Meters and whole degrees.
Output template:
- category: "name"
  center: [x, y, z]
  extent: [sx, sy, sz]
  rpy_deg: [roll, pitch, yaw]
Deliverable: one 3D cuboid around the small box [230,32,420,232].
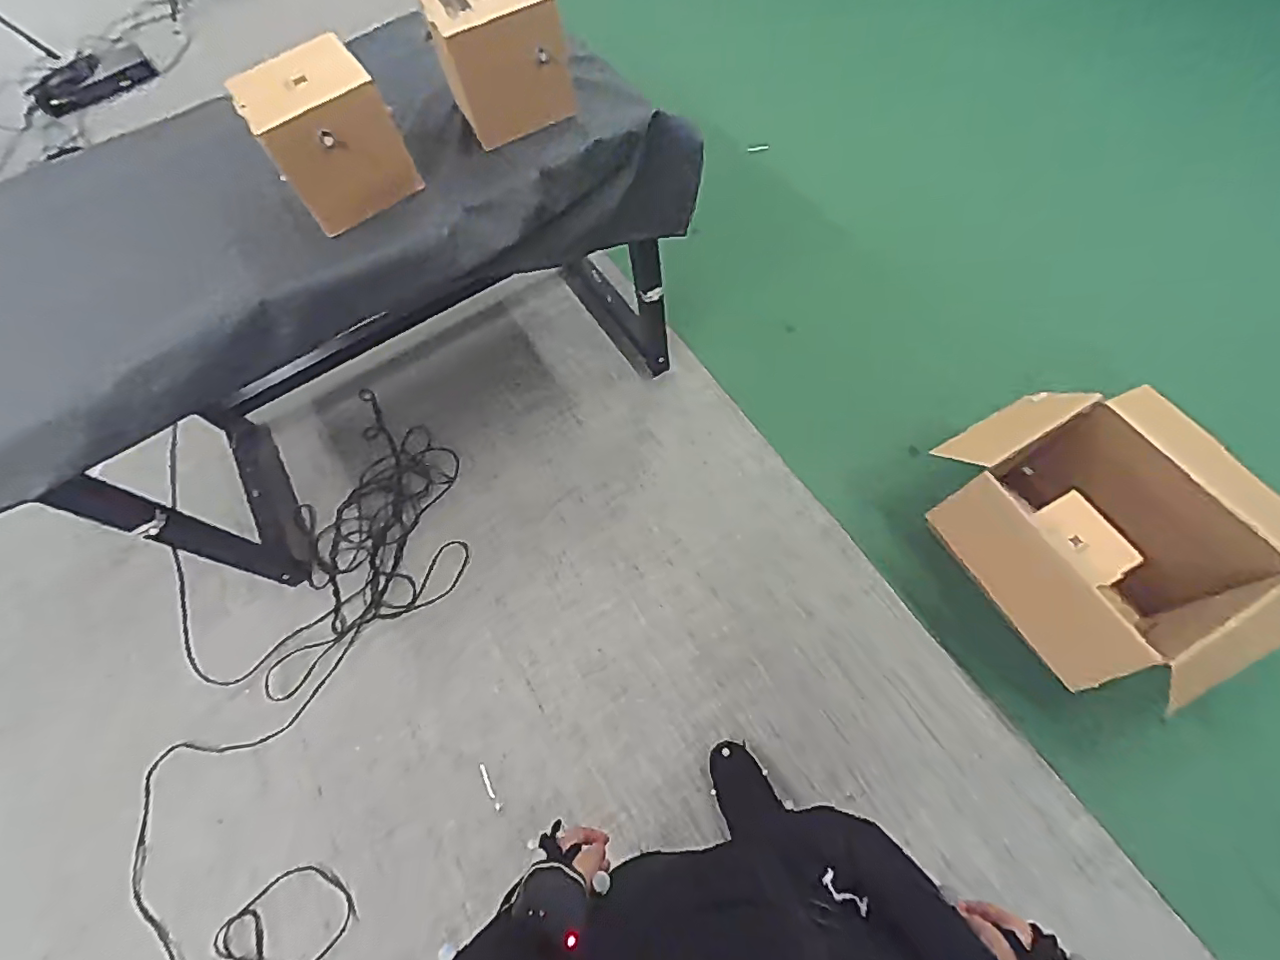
- category: "small box"
  center: [-0.467, -0.527, 0.832]
  extent: [0.179, 0.176, 0.168]
  rpy_deg: [-34, 67, -9]
